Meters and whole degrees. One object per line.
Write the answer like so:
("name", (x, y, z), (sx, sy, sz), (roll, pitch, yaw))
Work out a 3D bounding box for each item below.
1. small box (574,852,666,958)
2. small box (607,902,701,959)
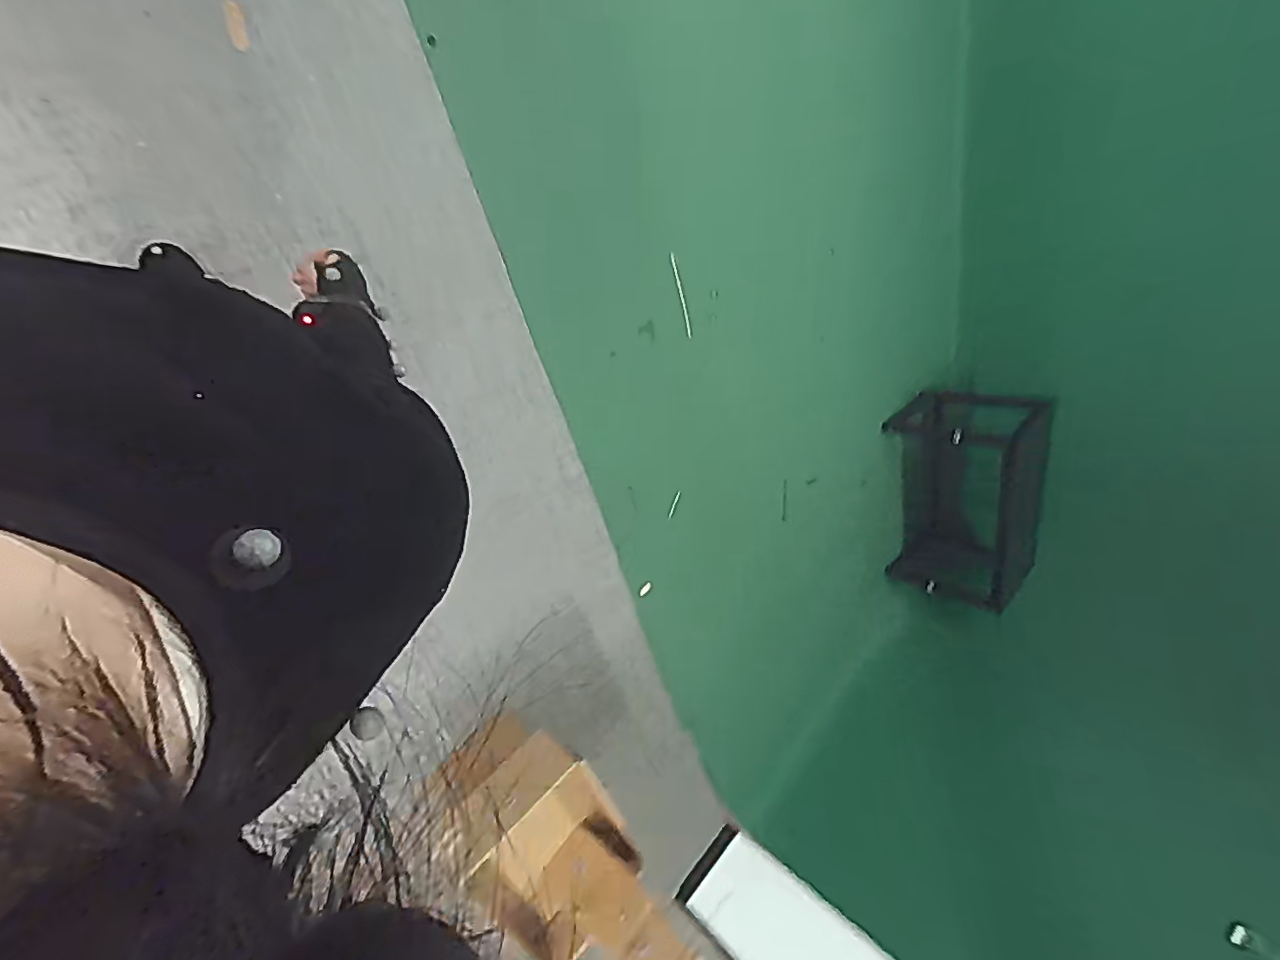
("small box", (-0.063, 1.202, 1.511), (0.179, 0.176, 0.168), (-43, 127, -27))
("small box", (0.046, 1.247, 1.395), (0.168, 0.176, 0.179), (-41, 126, -28))
